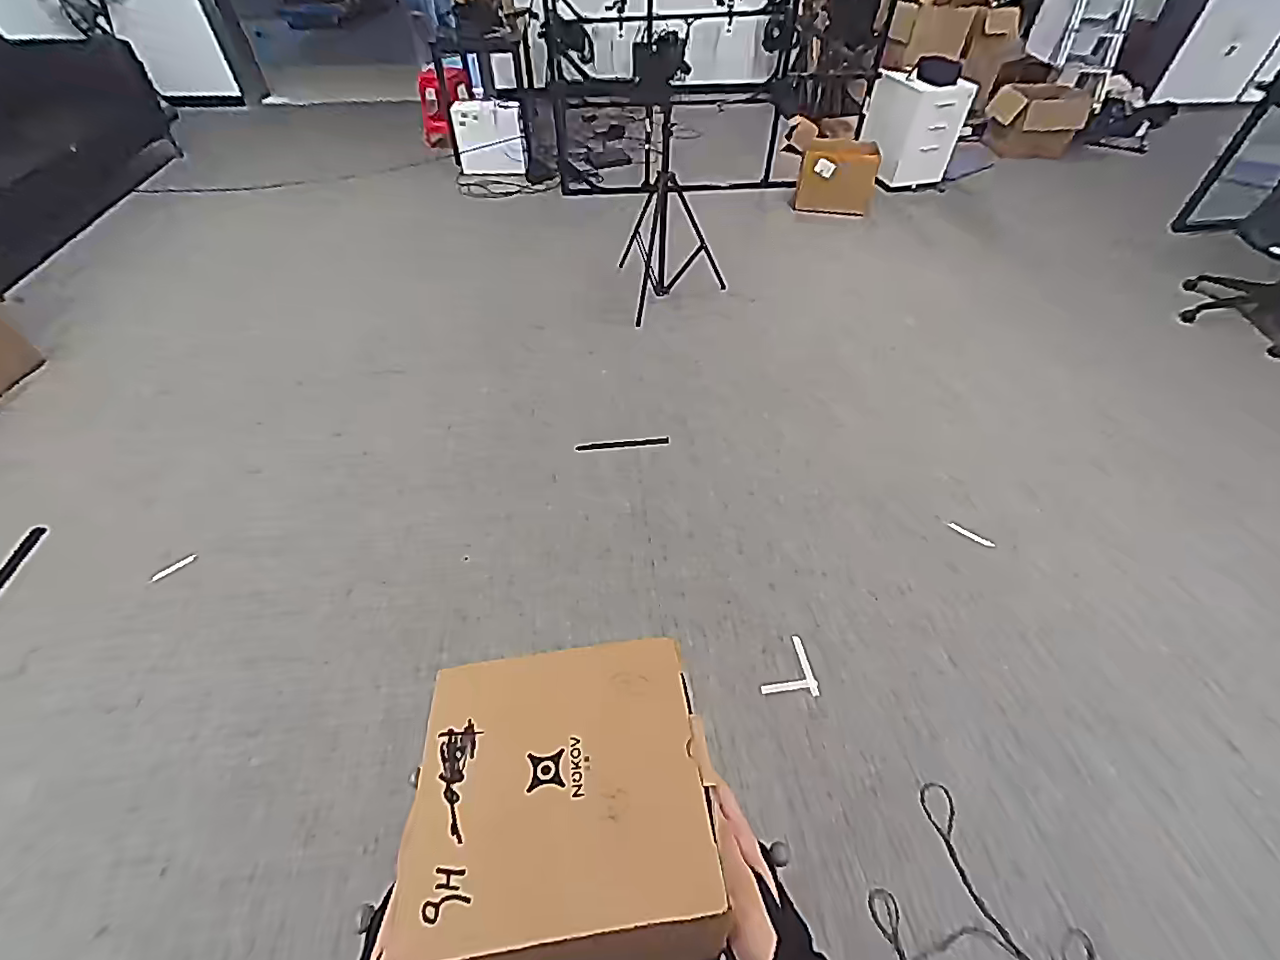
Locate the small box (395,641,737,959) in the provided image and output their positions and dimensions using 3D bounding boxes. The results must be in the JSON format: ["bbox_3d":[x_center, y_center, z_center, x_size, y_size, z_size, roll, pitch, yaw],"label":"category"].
[{"bbox_3d":[-0.043,0.240,0.384,0.179,0.176,0.168,-6,39,-5],"label":"small box"}]
